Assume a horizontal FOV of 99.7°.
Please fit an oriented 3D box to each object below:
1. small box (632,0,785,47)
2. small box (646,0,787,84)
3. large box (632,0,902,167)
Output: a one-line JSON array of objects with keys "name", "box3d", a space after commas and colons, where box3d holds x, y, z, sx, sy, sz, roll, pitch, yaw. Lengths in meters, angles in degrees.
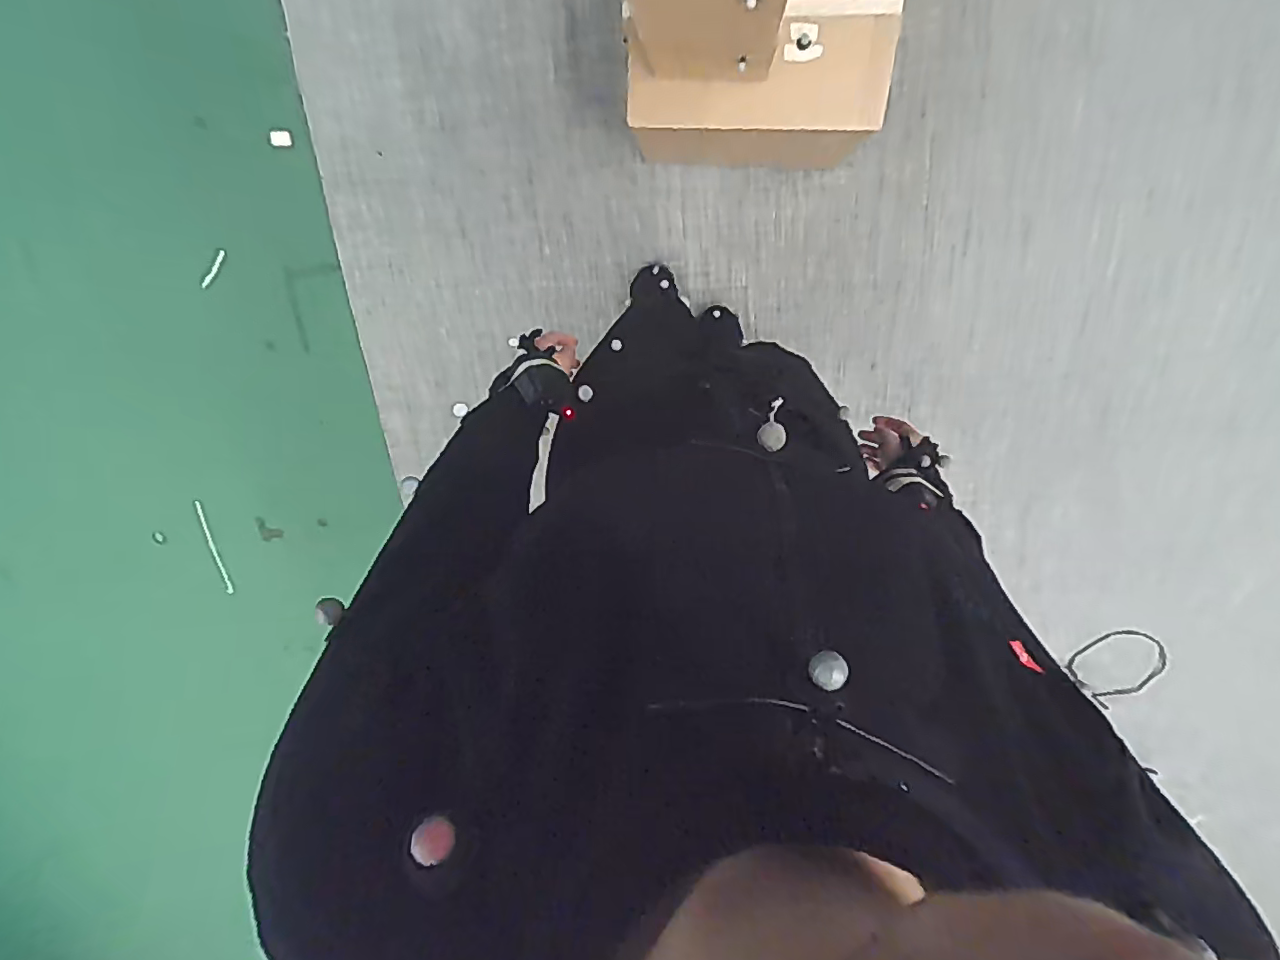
[{"name": "small box", "box3d": [0.080, -0.599, 0.581, 0.179, 0.176, 0.168, 5, 109, 3]}, {"name": "small box", "box3d": [0.103, -0.660, 0.729, 0.179, 0.176, 0.168, 4, 109, 6]}, {"name": "large box", "box3d": [0.197, -0.752, 0.944, 0.408, 0.320, 0.320, 3, 112, 4]}]
